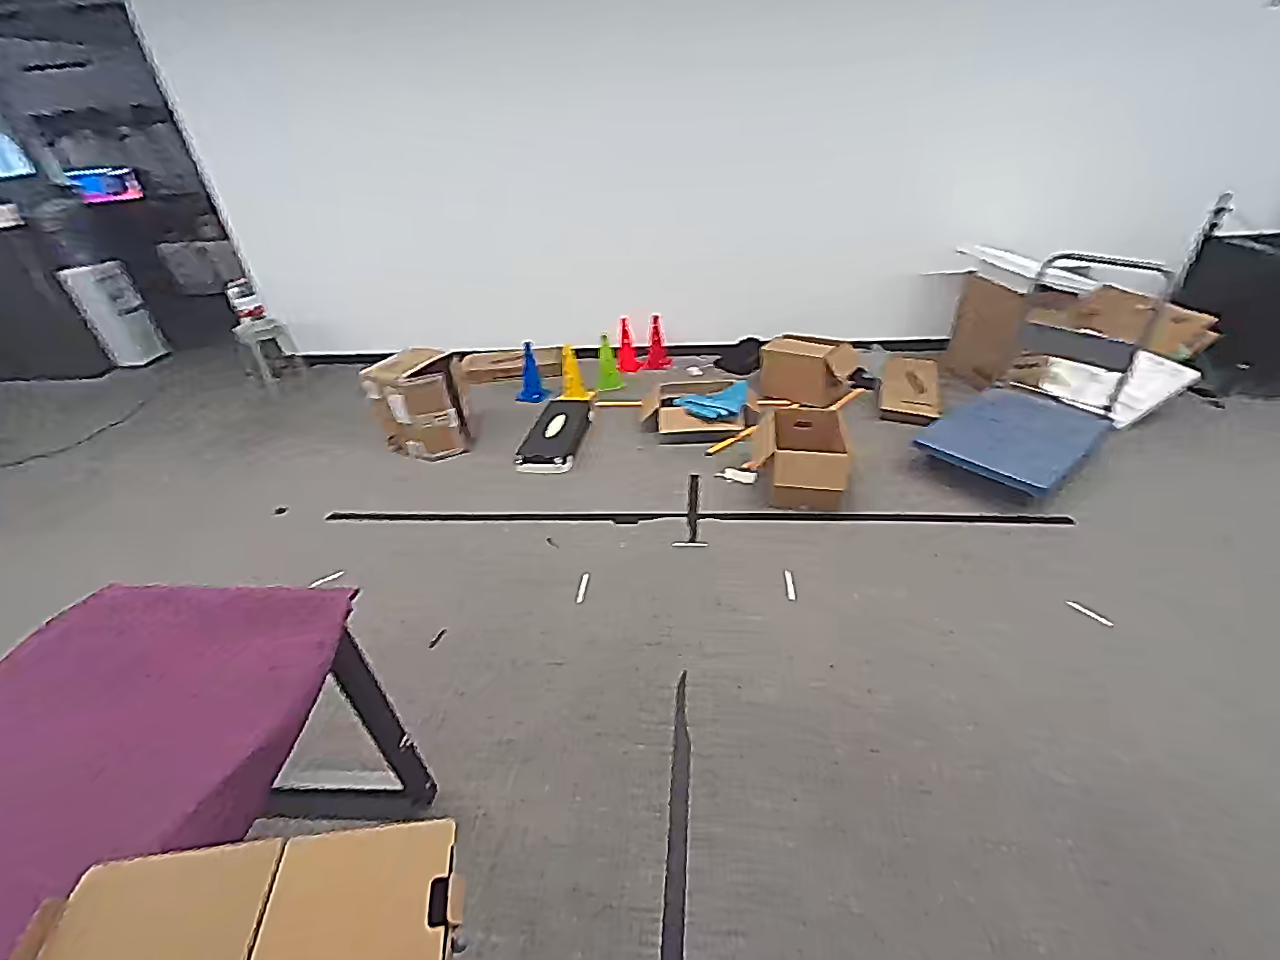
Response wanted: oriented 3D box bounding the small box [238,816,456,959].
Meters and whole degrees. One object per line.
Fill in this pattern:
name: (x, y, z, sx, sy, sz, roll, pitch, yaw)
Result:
small box: (-0.292, 0.487, 0.562, 0.179, 0.176, 0.168, 2, 33, -15)
